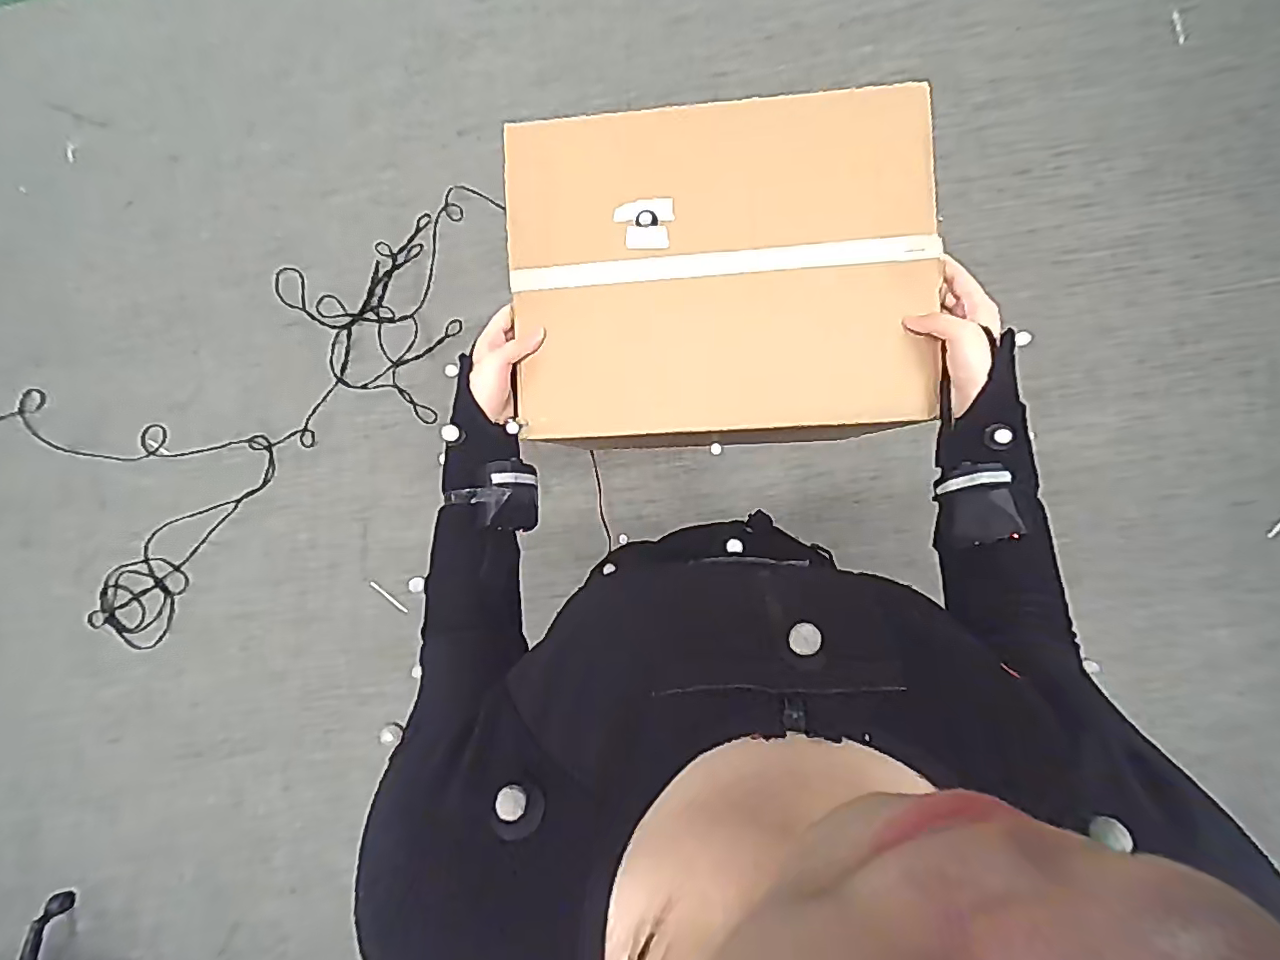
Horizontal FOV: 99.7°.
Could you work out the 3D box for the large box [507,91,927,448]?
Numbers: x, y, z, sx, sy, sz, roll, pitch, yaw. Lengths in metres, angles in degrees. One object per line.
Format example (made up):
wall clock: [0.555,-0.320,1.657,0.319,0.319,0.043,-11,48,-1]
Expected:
large box: [0.087,-0.208,0.681,0.408,0.320,0.320,-3,90,6]
